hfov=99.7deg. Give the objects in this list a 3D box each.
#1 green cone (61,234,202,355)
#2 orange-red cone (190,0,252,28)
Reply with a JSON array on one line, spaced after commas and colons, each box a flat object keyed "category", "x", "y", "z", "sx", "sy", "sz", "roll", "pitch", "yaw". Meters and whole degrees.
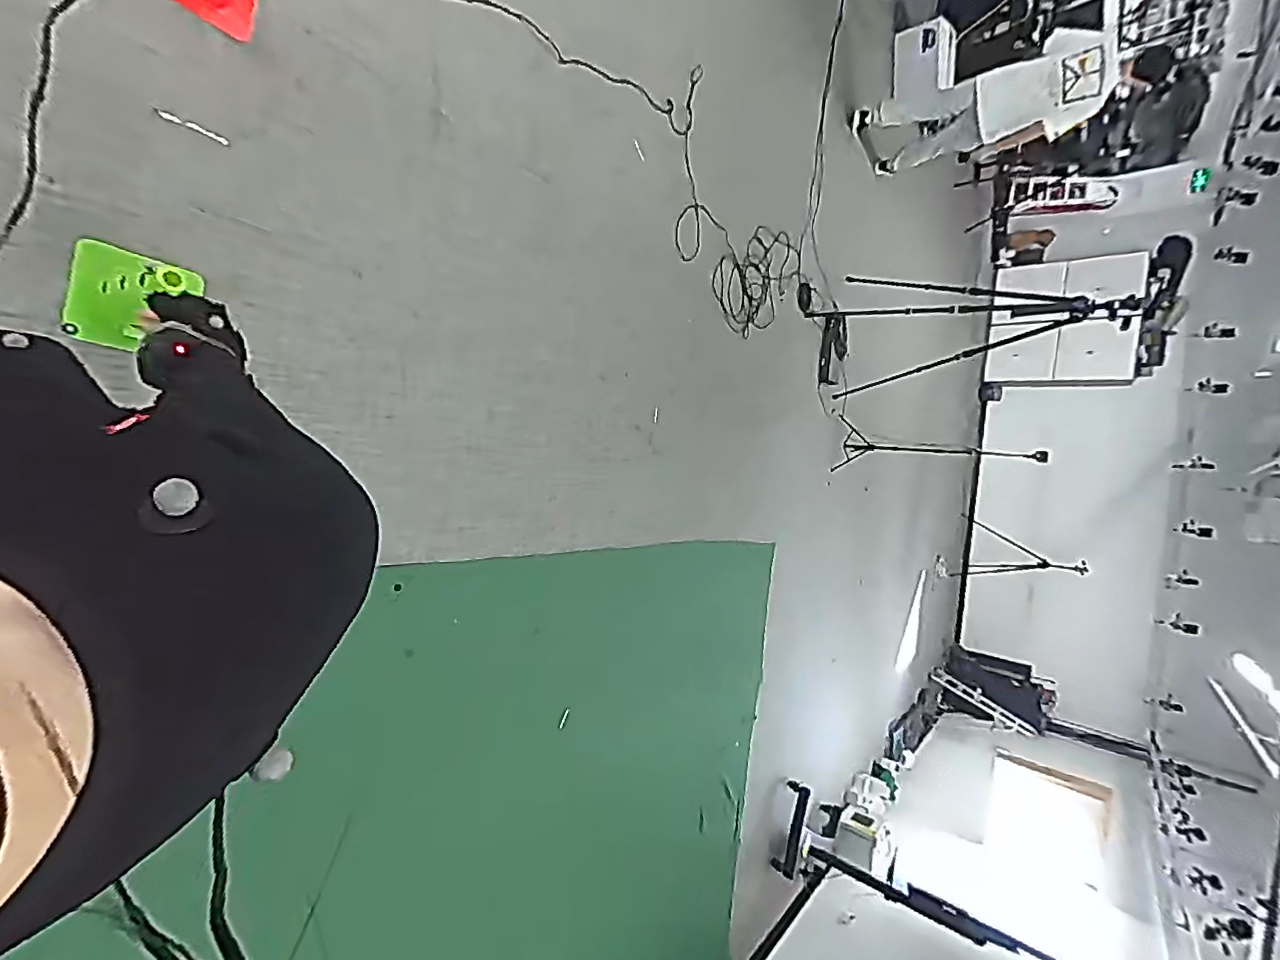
[{"category": "green cone", "x": -0.910, "y": -0.362, "z": 1.008, "sx": 0.200, "sy": 0.368, "sz": 0.202, "roll": 9, "pitch": 88, "yaw": -51}, {"category": "orange-red cone", "x": -0.803, "y": -1.086, "z": 1.028, "sx": 0.198, "sy": 0.360, "sz": 0.199, "roll": 12, "pitch": 88, "yaw": -49}]
